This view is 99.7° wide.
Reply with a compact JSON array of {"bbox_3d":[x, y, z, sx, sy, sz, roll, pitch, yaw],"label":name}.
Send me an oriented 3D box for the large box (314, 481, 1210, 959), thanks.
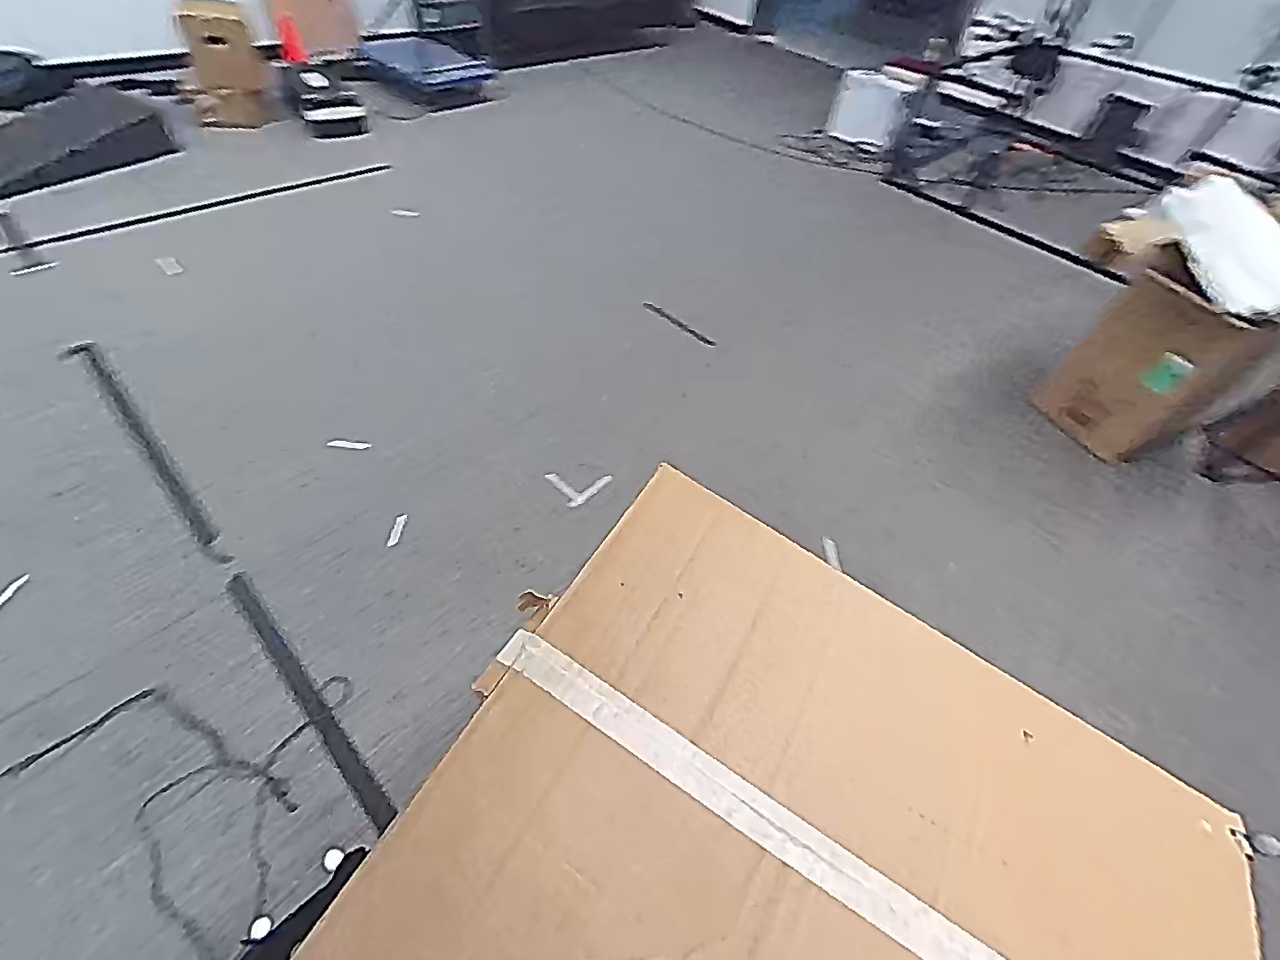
[{"bbox_3d":[0.070,0.278,0.400,0.408,0.320,0.320,32,57,7],"label":"large box"}]
